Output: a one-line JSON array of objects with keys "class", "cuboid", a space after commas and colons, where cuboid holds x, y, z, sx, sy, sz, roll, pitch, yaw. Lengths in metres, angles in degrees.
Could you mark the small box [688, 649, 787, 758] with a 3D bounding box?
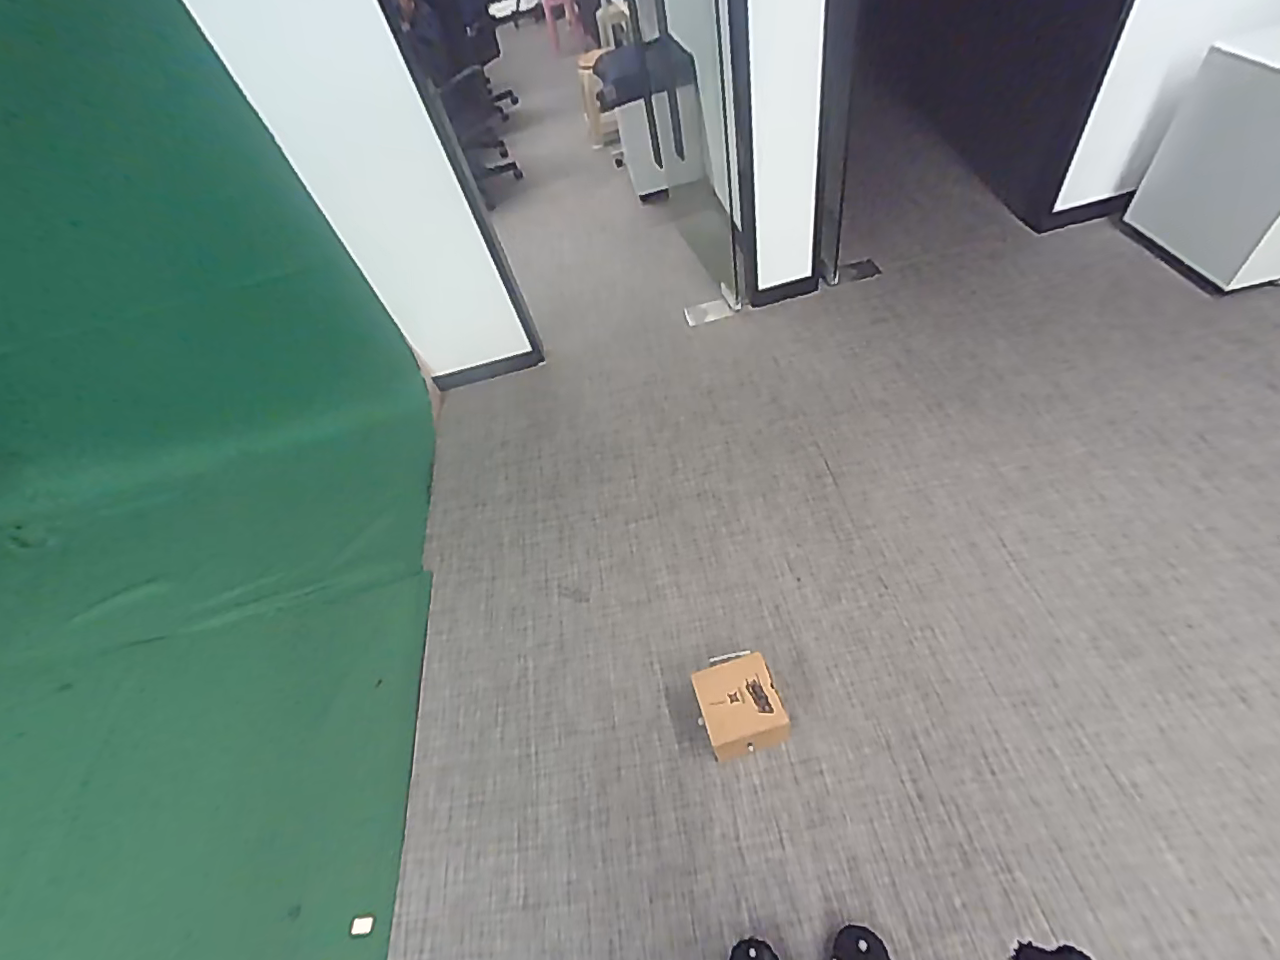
[{"class": "small box", "cuboid": [0.228, 0.531, 1.279, 0.179, 0.176, 0.168, -20, 51, -3]}]
